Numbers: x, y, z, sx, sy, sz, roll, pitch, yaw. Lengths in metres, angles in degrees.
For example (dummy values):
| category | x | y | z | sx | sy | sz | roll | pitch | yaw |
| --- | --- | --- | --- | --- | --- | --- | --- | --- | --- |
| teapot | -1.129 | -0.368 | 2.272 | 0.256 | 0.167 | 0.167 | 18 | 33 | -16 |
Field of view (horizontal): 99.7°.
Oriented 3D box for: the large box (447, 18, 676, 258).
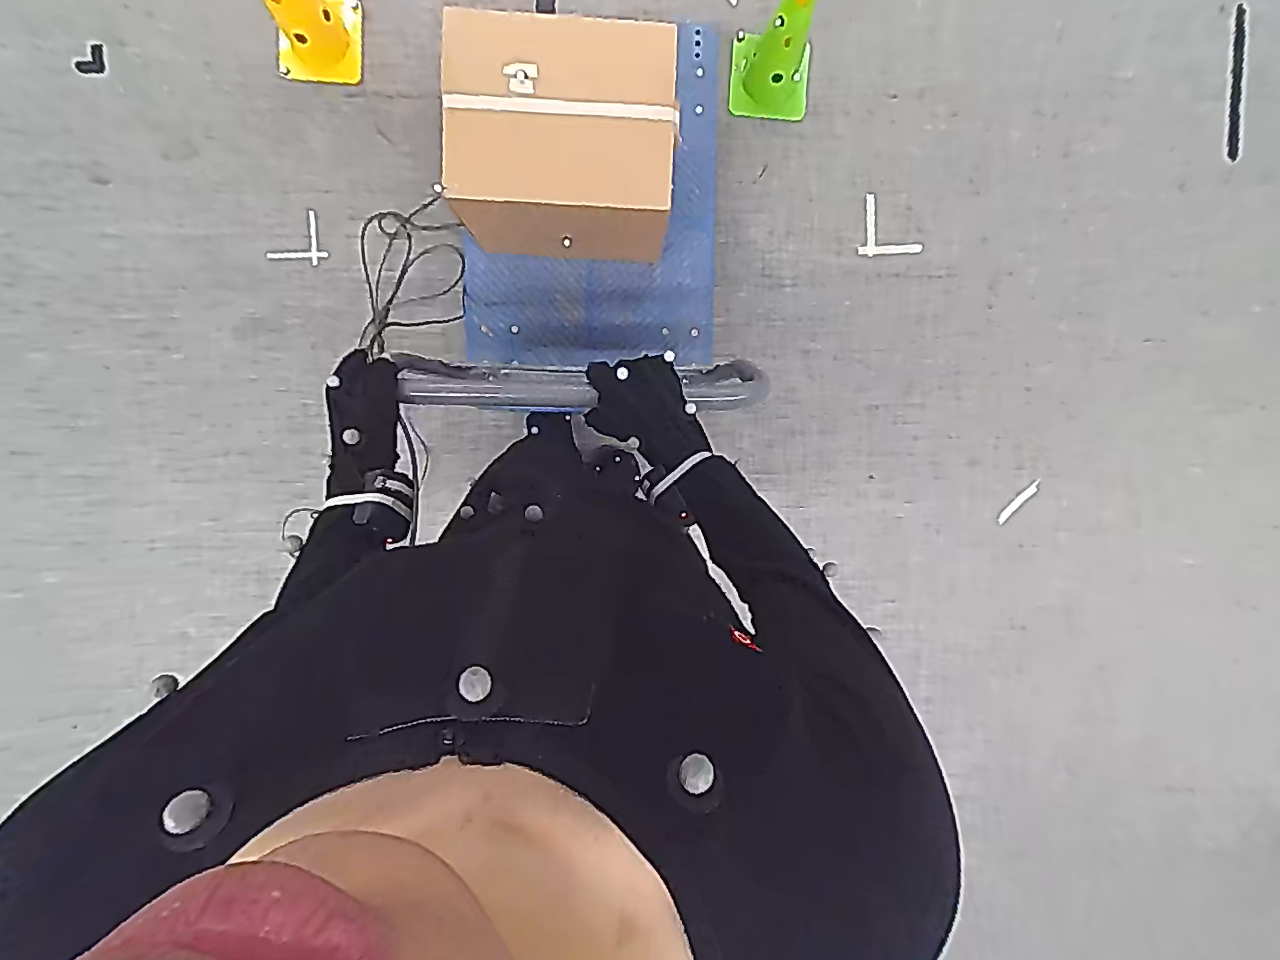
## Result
| category | x | y | z | sx | sy | sz | roll | pitch | yaw |
| --- | --- | --- | --- | --- | --- | --- | --- | --- | --- |
| large box | -0.138 | -0.656 | 1.095 | 0.408 | 0.320 | 0.320 | 2 | 95 | -1 |

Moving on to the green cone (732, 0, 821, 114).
| category | x | y | z | sx | sy | sz | roll | pitch | yaw |
| --- | --- | --- | --- | --- | --- | --- | --- | --- | --- |
| green cone | 0.347 | -1.037 | 1.221 | 0.202 | 0.368 | 0.200 | 3 | 95 | -3 |
